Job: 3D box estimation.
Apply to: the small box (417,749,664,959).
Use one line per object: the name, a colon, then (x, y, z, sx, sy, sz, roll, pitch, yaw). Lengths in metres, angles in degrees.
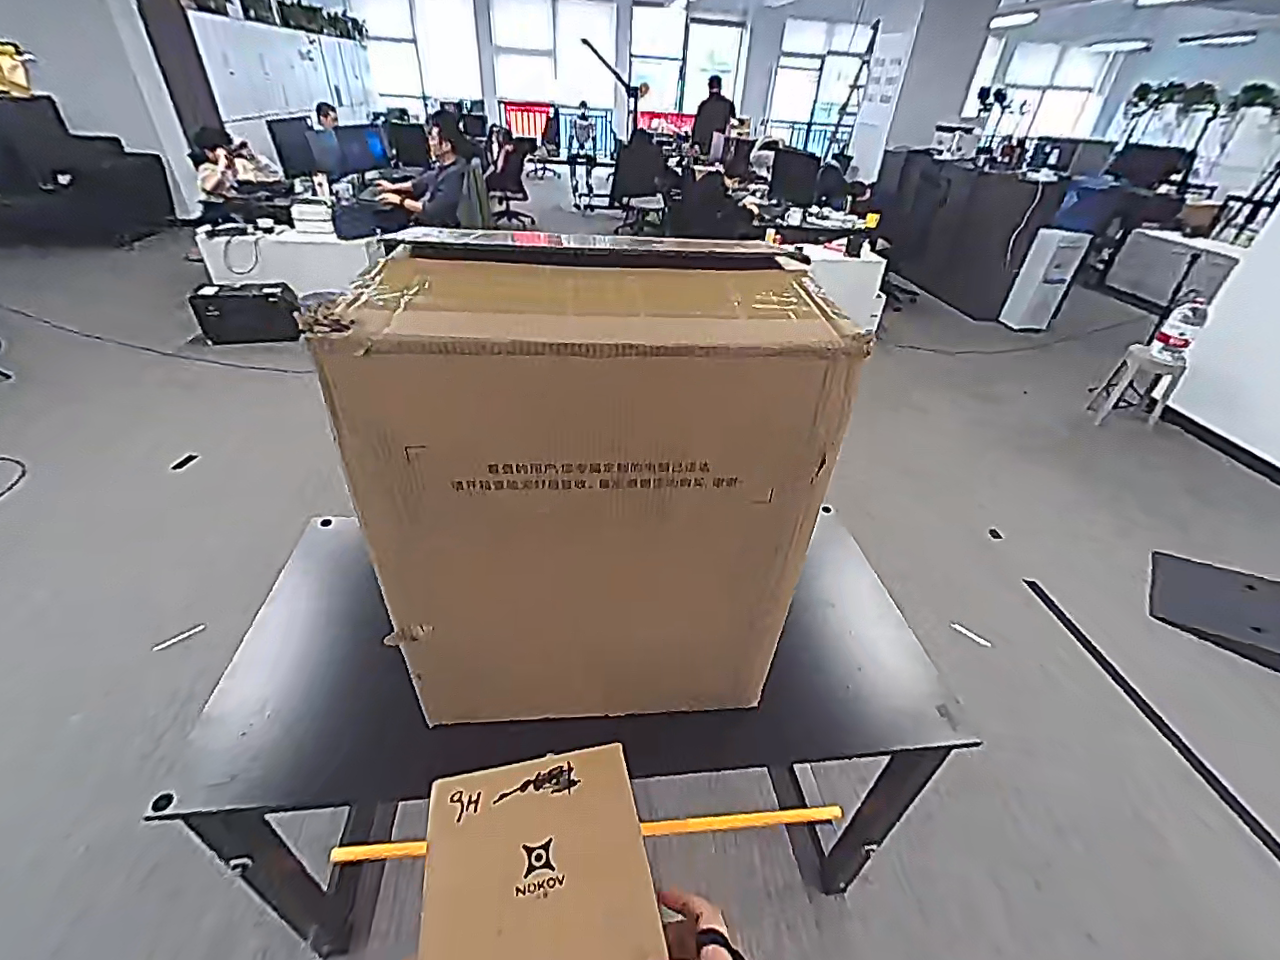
small box: (-0.078, 0.361, 0.443, 0.168, 0.176, 0.179, -6, 36, -12)
